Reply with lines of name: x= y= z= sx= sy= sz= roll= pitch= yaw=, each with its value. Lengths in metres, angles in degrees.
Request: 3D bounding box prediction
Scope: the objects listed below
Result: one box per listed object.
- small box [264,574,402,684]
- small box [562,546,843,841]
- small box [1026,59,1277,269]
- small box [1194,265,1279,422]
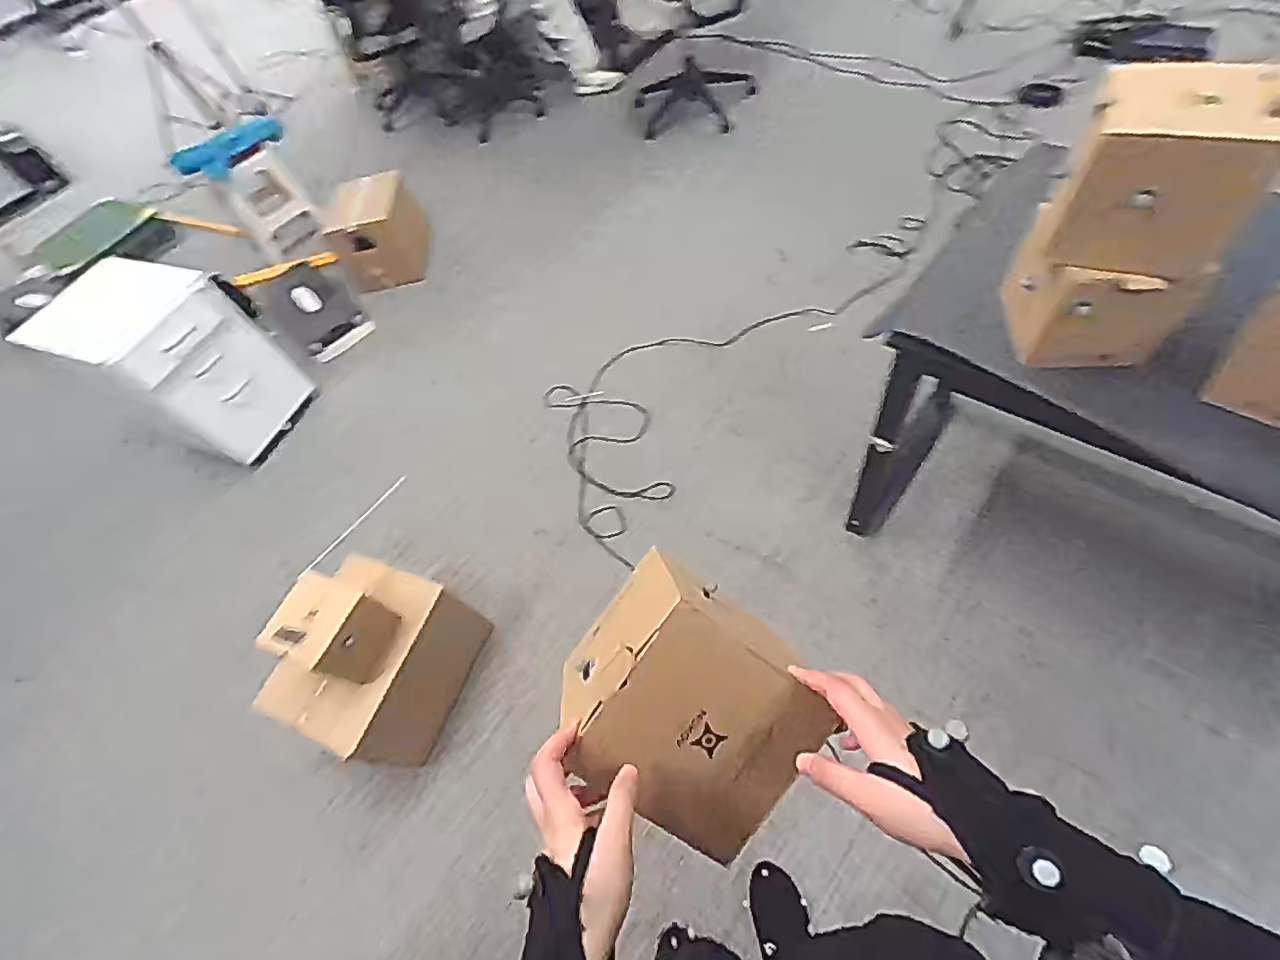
small box: x=-0.680 y=0.342 z=1.222 sx=0.168 sy=0.176 sz=0.179 roll=14 pitch=63 yaw=19
small box: x=0.047 y=0.181 z=0.518 sx=0.179 sy=0.176 sz=0.168 roll=36 pitch=95 yaw=-8
small box: x=0.619 y=-0.390 z=0.679 sx=0.179 sy=0.176 sz=0.168 roll=17 pitch=63 yaw=23
small box: x=0.881 y=-0.190 z=0.691 sx=0.168 sy=0.176 sz=0.179 roll=35 pitch=71 yaw=29
